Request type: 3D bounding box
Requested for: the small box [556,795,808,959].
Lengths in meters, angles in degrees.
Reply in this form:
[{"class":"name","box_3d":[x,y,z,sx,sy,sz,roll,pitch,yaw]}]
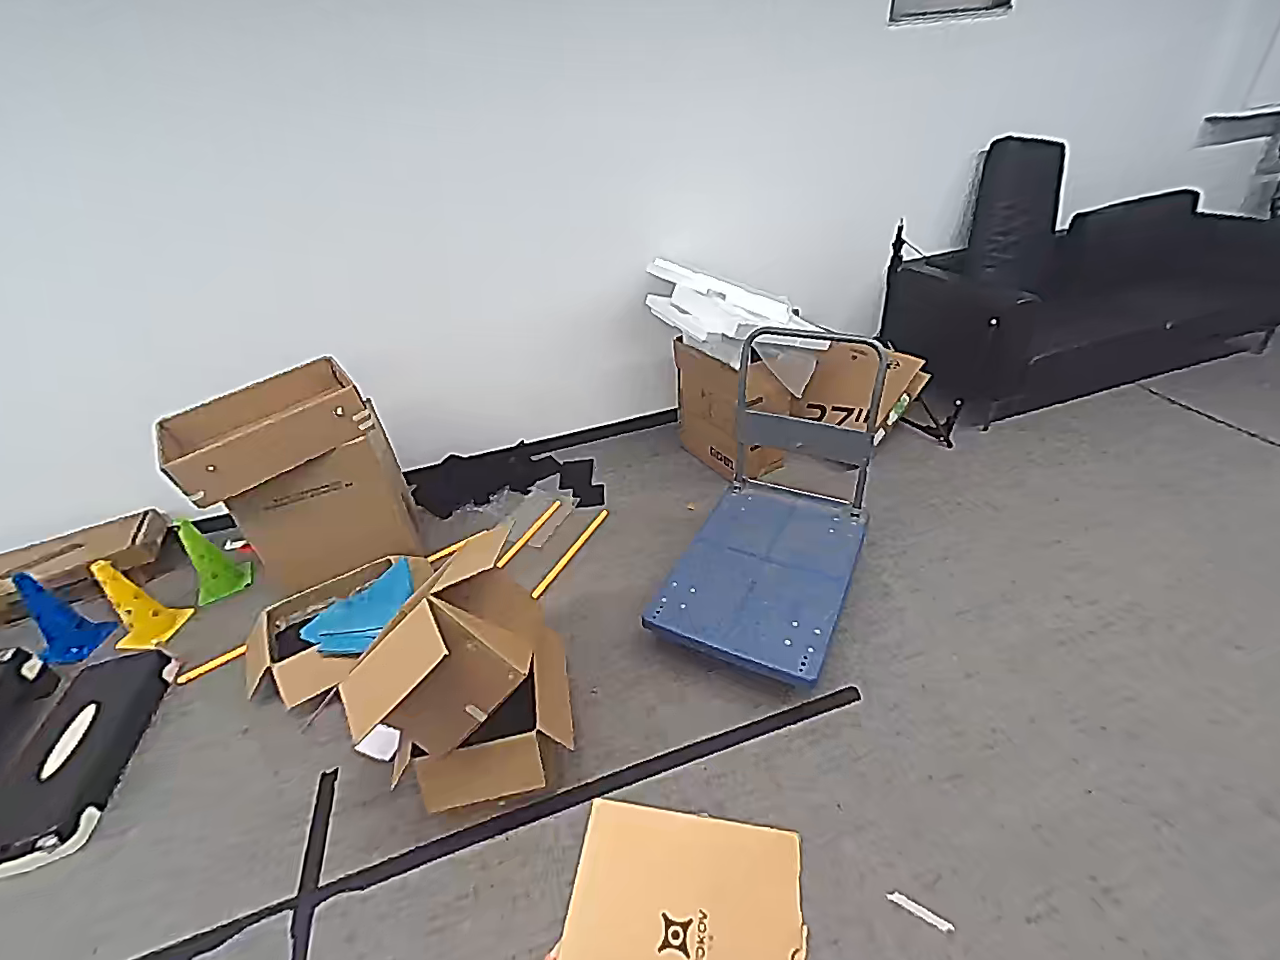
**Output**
[{"class":"small box","box_3d":[0.037,0.389,0.435,0.179,0.176,0.168,3,37,11]}]
